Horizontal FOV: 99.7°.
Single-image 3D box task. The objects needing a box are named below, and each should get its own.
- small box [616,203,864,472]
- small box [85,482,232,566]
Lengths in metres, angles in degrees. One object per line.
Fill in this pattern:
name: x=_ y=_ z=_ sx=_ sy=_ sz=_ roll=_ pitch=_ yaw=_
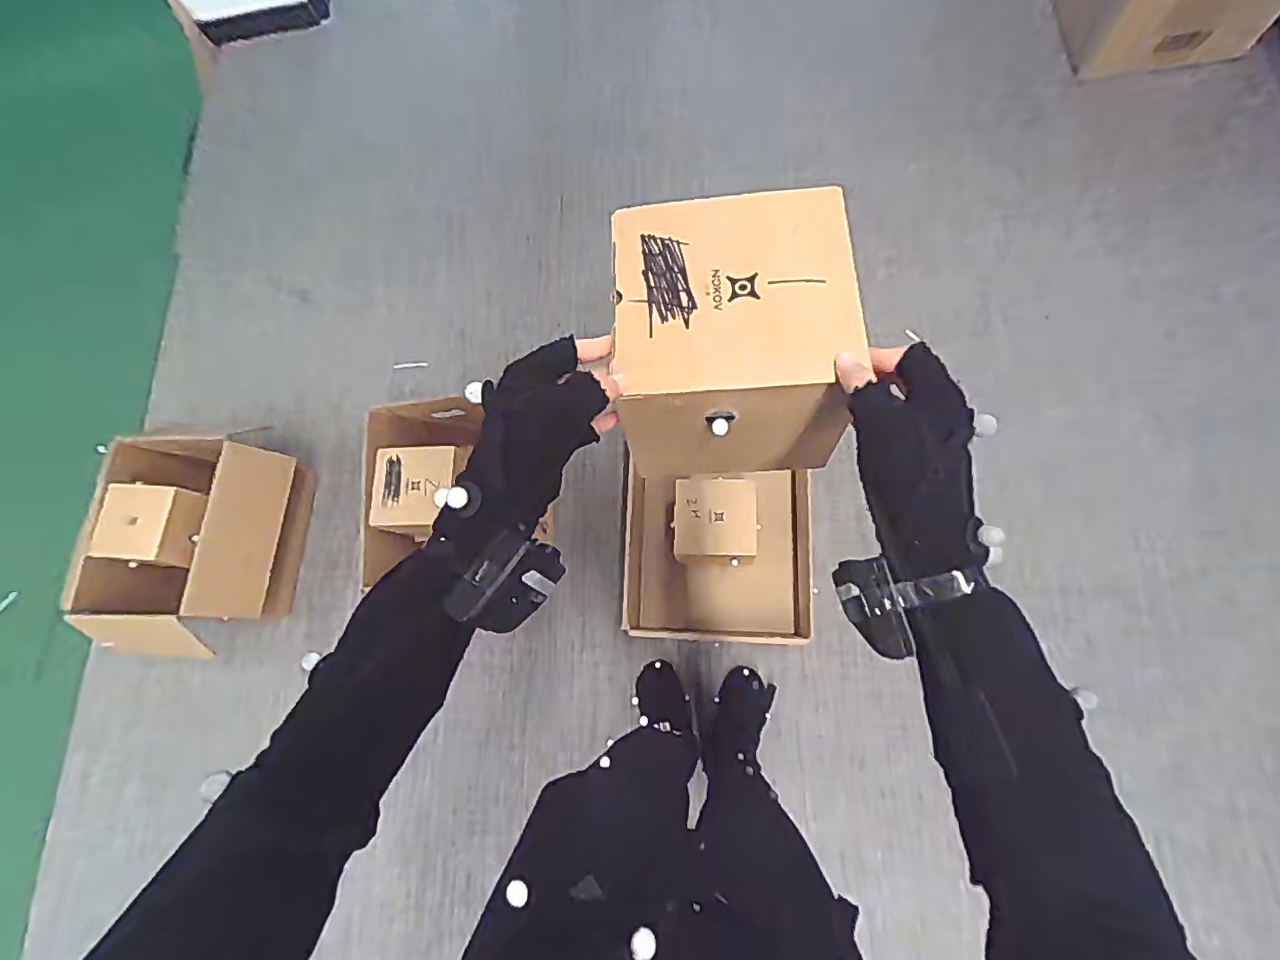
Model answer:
small box: x=0.078 y=-0.111 z=0.481 sx=0.179 sy=0.176 sz=0.168 roll=-2 pitch=70 yaw=5
small box: x=-1.111 y=0.107 z=1.265 sx=0.179 sy=0.176 sz=0.168 roll=3 pitch=75 yaw=7
